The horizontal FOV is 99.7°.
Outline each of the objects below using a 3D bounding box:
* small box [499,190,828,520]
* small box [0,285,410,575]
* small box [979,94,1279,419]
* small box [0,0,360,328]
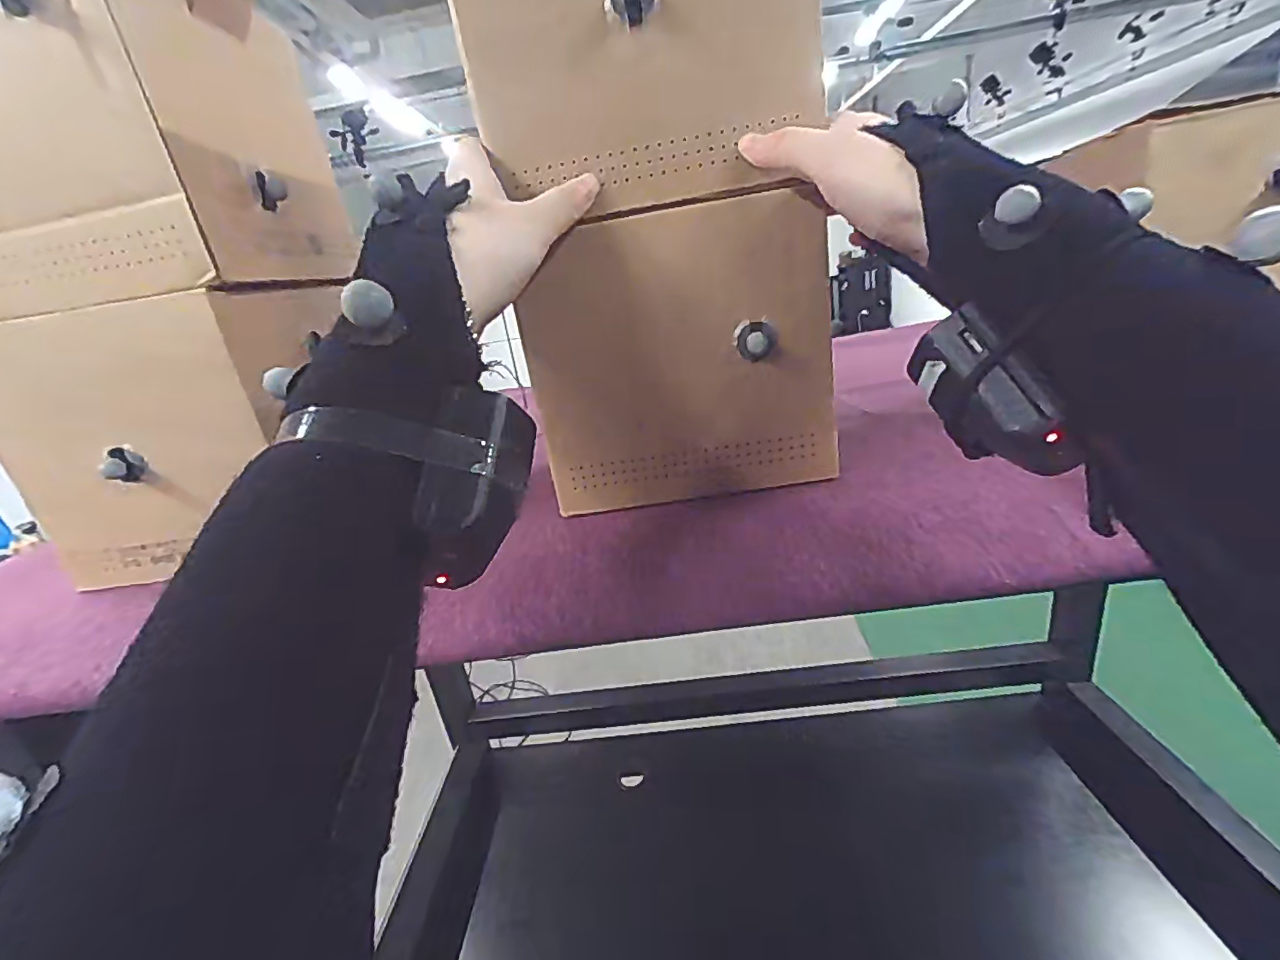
[{"bbox_3d":[0.023,-0.086,0.382,0.179,0.176,0.168,-9,18,4],"label":"small box"},{"bbox_3d":[-0.294,-0.041,0.396,0.168,0.176,0.179,-7,21,3],"label":"small box"},{"bbox_3d":[0.368,-0.145,0.375,0.179,0.176,0.168,-8,18,6],"label":"small box"},{"bbox_3d":[-0.317,-0.192,0.338,0.179,0.176,0.168,-8,22,2],"label":"small box"}]
